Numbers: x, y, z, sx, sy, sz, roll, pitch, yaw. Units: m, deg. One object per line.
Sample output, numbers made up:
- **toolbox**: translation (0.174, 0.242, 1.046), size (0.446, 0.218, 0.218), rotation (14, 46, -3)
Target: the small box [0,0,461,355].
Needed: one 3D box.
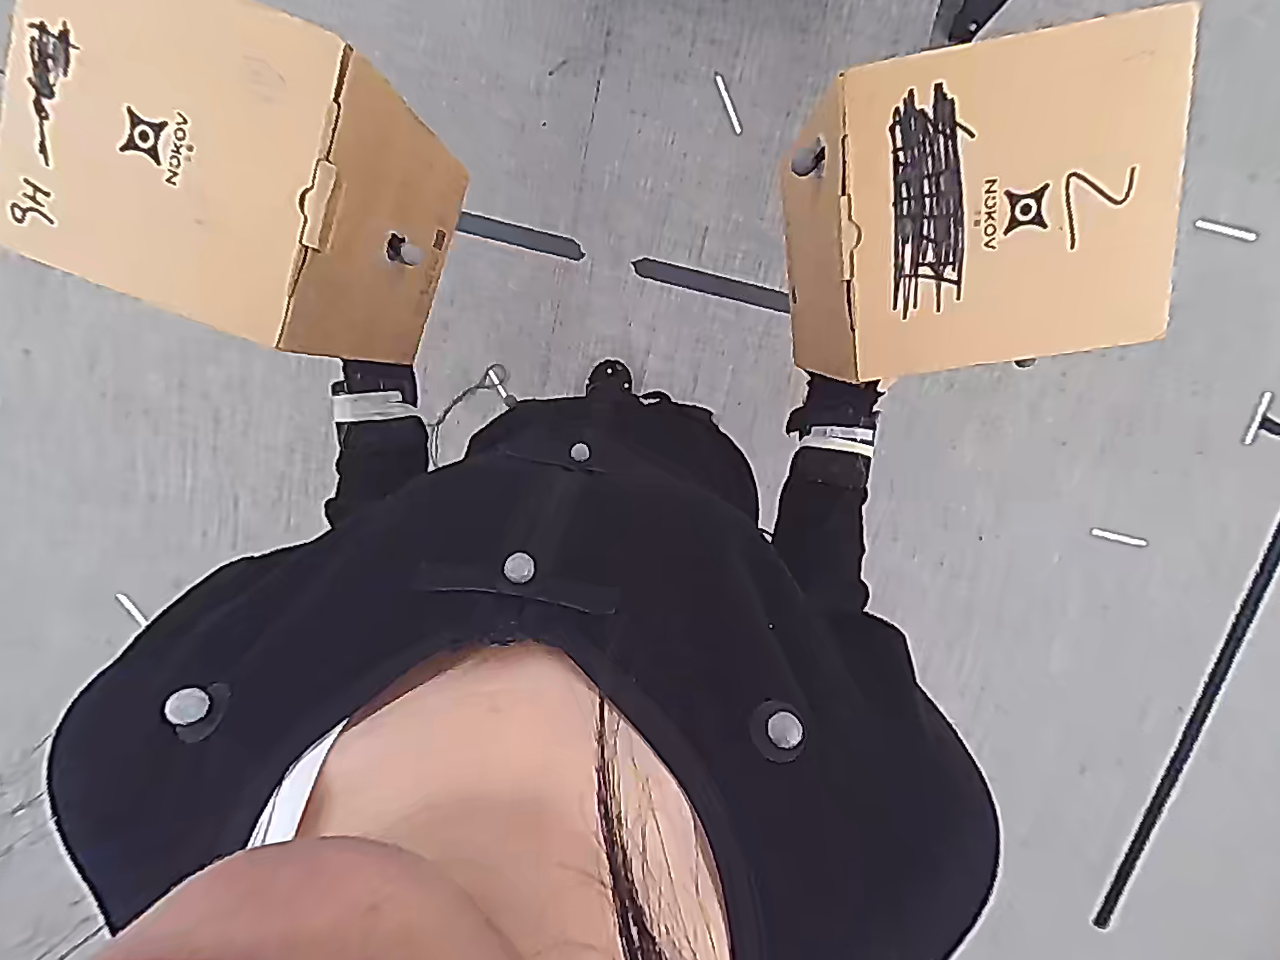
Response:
- **small box**: translation (-0.247, -0.192, 0.366), size (0.179, 0.176, 0.168), rotation (21, 100, -2)
